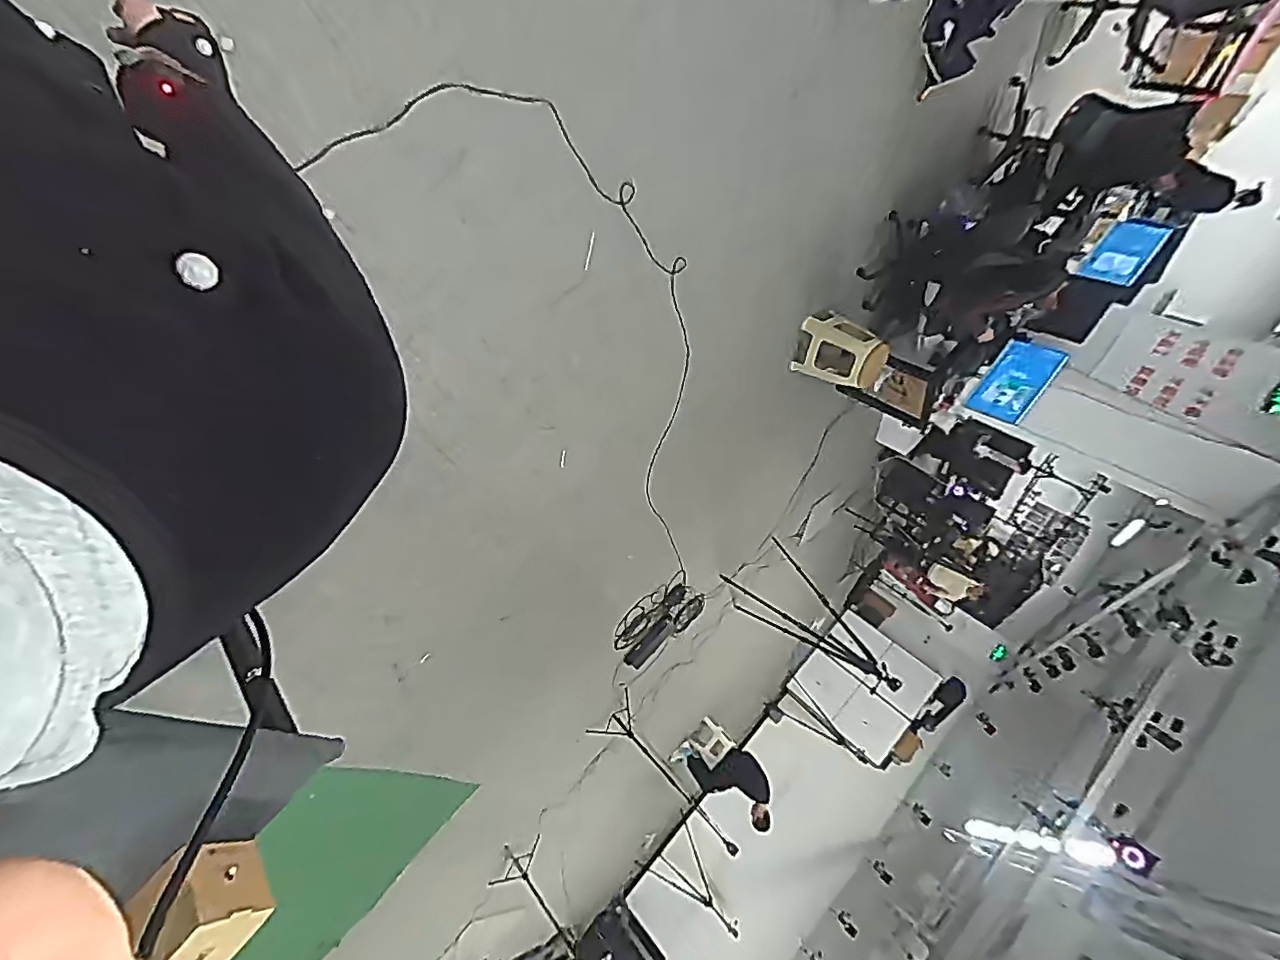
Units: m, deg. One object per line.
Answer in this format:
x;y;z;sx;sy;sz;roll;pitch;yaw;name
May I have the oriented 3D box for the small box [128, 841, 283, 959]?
-0.885;0.870;1.100;0.179;0.176;0.168;-48;146;-10;small box
